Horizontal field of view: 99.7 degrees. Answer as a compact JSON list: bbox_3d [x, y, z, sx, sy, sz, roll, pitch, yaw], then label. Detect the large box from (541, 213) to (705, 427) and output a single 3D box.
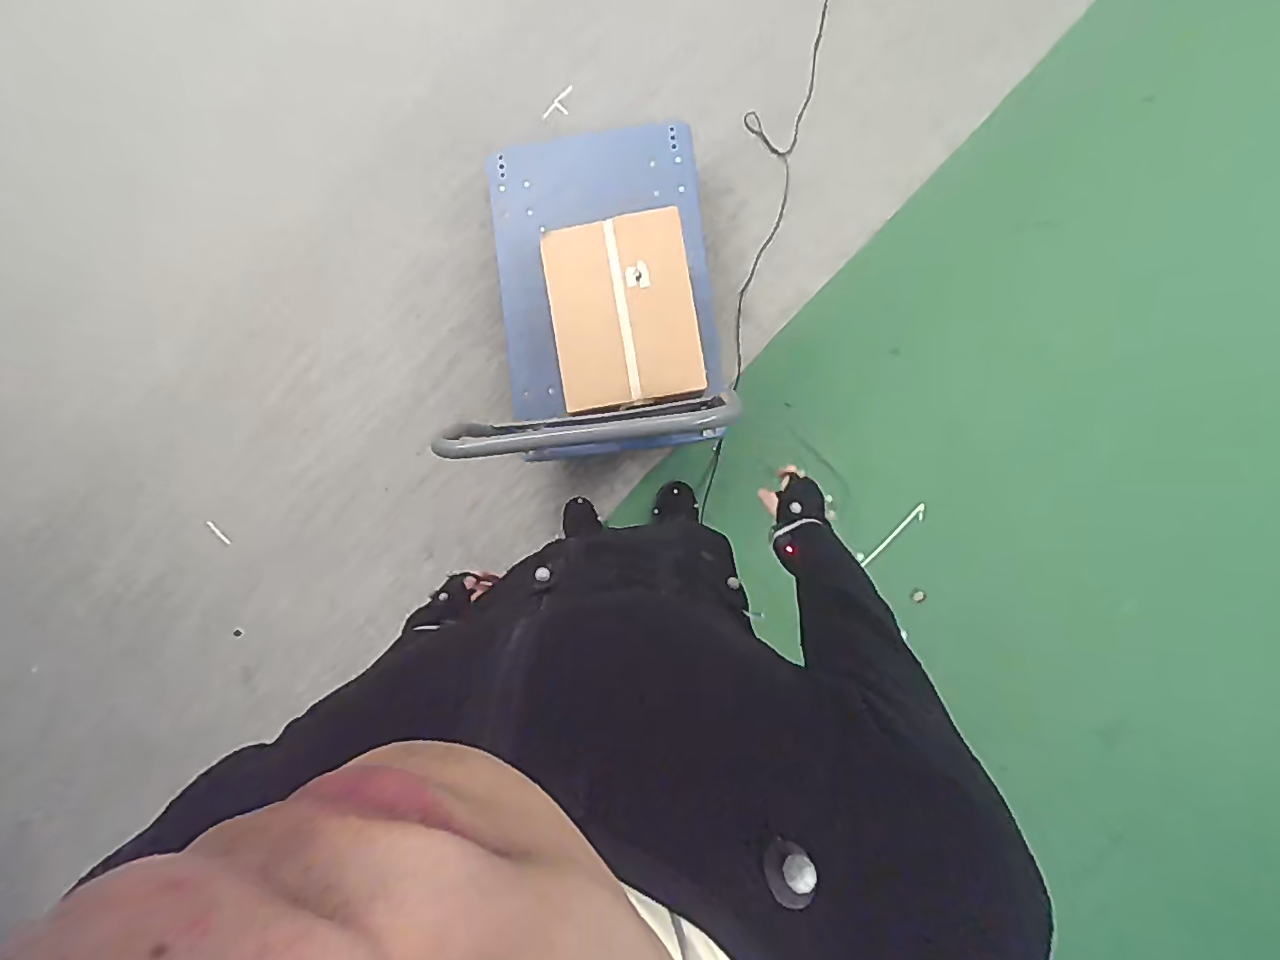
[{"bbox_3d":[-0.028,-0.369,1.348,0.320,0.320,0.408,-9,89,3],"label":"large box"}]
